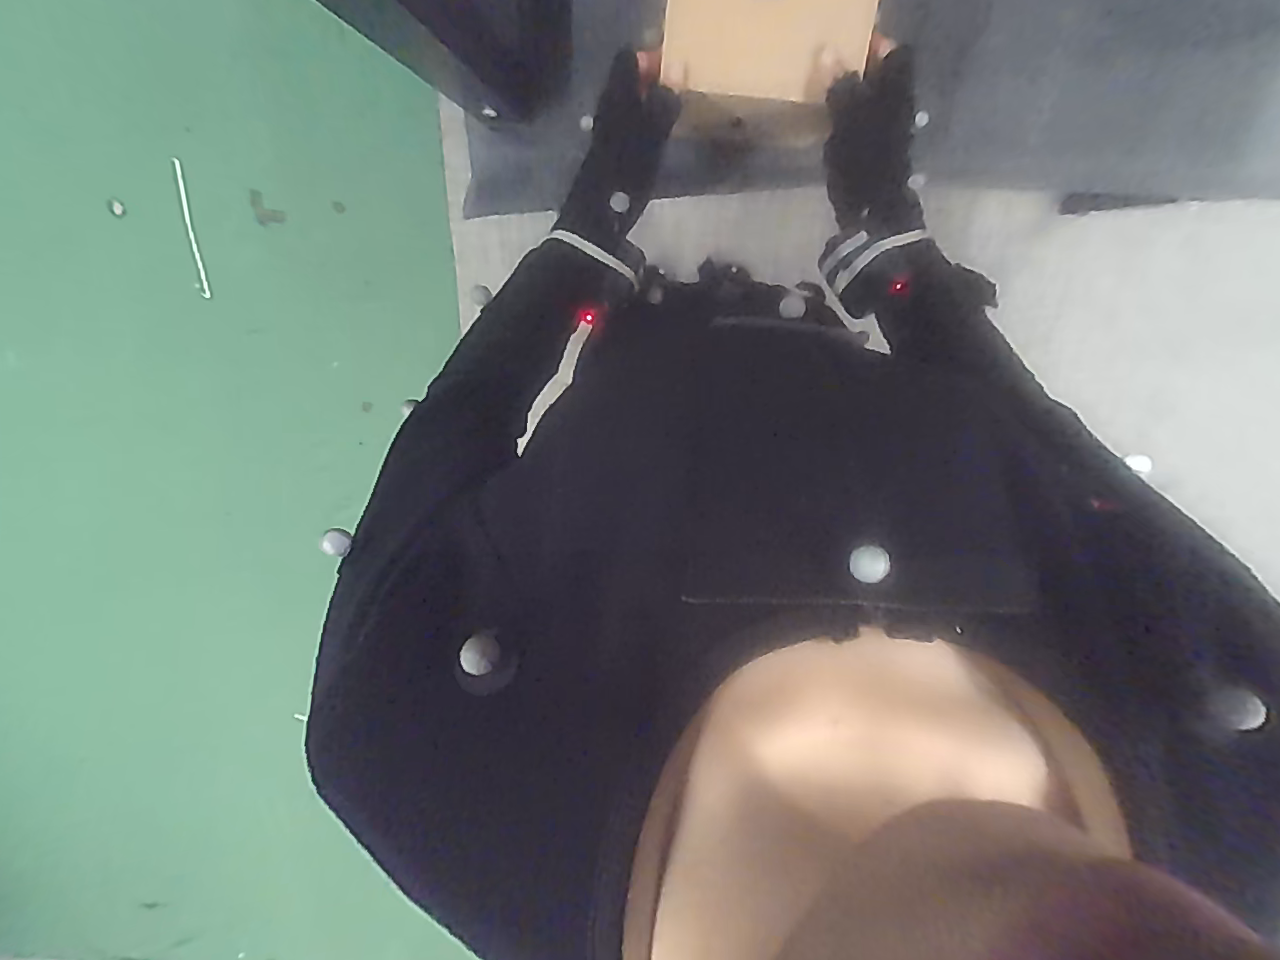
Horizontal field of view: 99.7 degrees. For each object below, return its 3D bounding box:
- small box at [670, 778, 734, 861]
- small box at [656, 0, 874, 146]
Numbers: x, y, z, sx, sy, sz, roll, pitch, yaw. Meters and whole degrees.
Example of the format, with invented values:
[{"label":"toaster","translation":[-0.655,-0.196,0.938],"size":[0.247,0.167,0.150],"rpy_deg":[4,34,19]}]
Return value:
[{"label":"small box","translation":[0.215,1.194,1.911],"size":[0.179,0.176,0.168],"rpy_deg":[17,111,-3]},{"label":"small box","translation":[0.106,-0.424,0.491],"size":[0.168,0.176,0.179],"rpy_deg":[6,111,-1]}]
